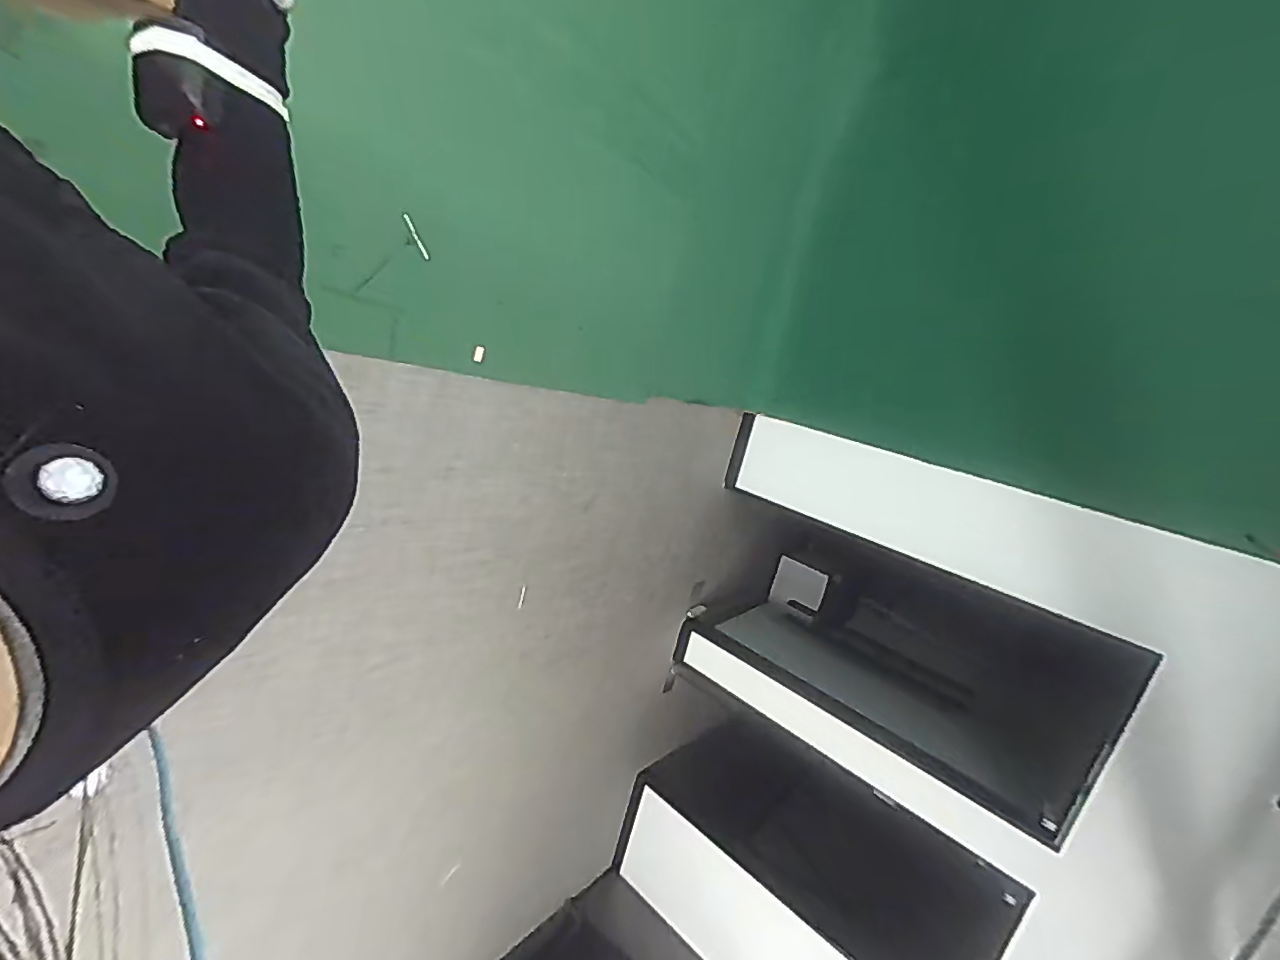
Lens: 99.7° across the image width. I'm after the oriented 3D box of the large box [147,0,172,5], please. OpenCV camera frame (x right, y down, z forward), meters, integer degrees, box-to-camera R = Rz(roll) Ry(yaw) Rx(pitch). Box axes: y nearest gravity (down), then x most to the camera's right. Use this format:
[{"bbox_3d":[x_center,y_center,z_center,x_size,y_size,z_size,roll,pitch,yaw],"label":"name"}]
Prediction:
[{"bbox_3d":[-0.546,-0.517,0.268,0.408,0.320,0.320,-19,130,-52],"label":"large box"}]
